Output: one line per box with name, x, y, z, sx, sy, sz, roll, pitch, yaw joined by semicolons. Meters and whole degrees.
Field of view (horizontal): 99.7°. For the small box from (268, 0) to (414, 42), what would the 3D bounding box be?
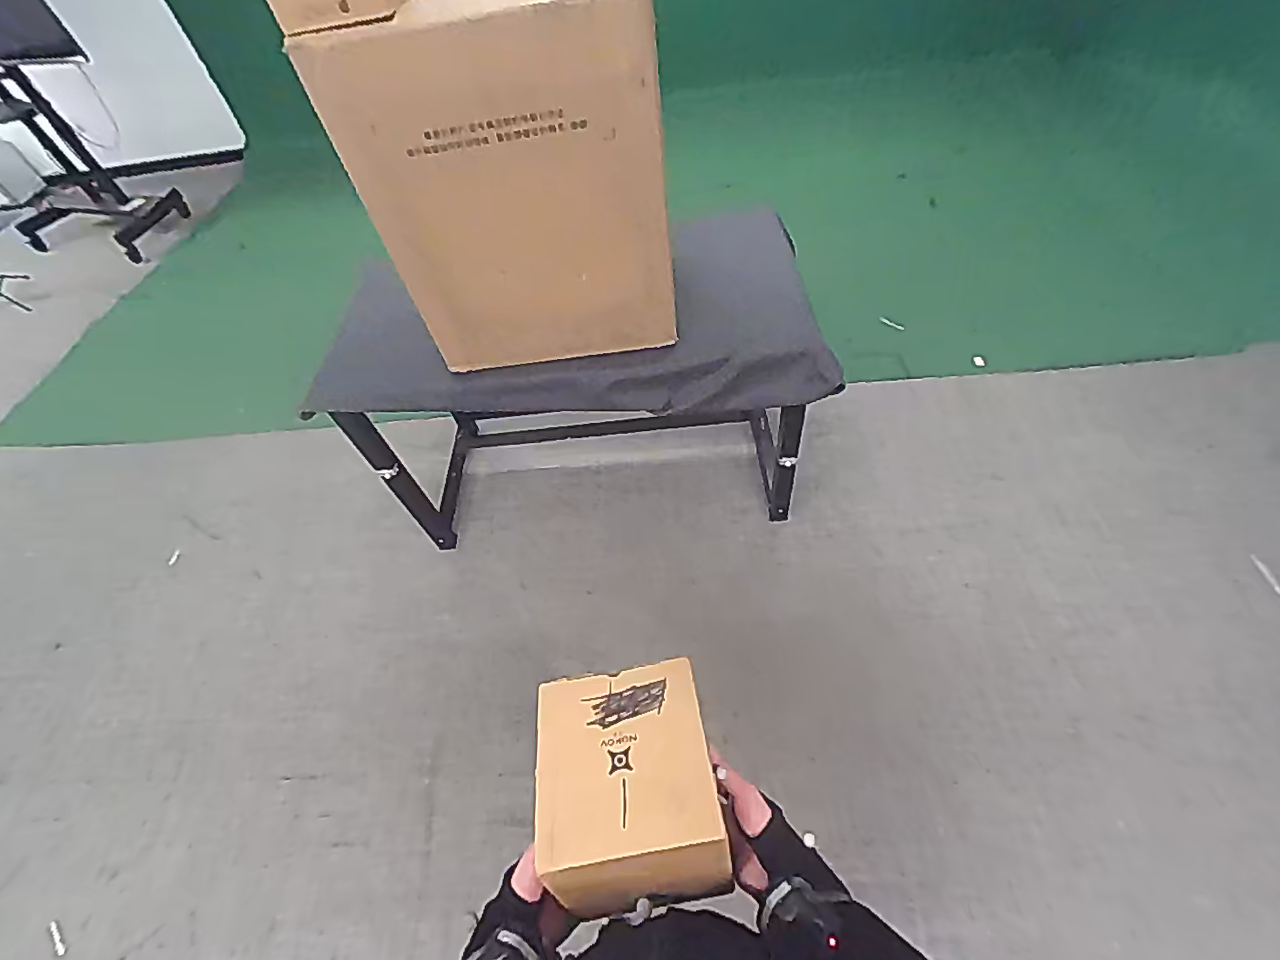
small box;-0.448;-0.758;0.775;0.168;0.176;0.179;-6;52;4
